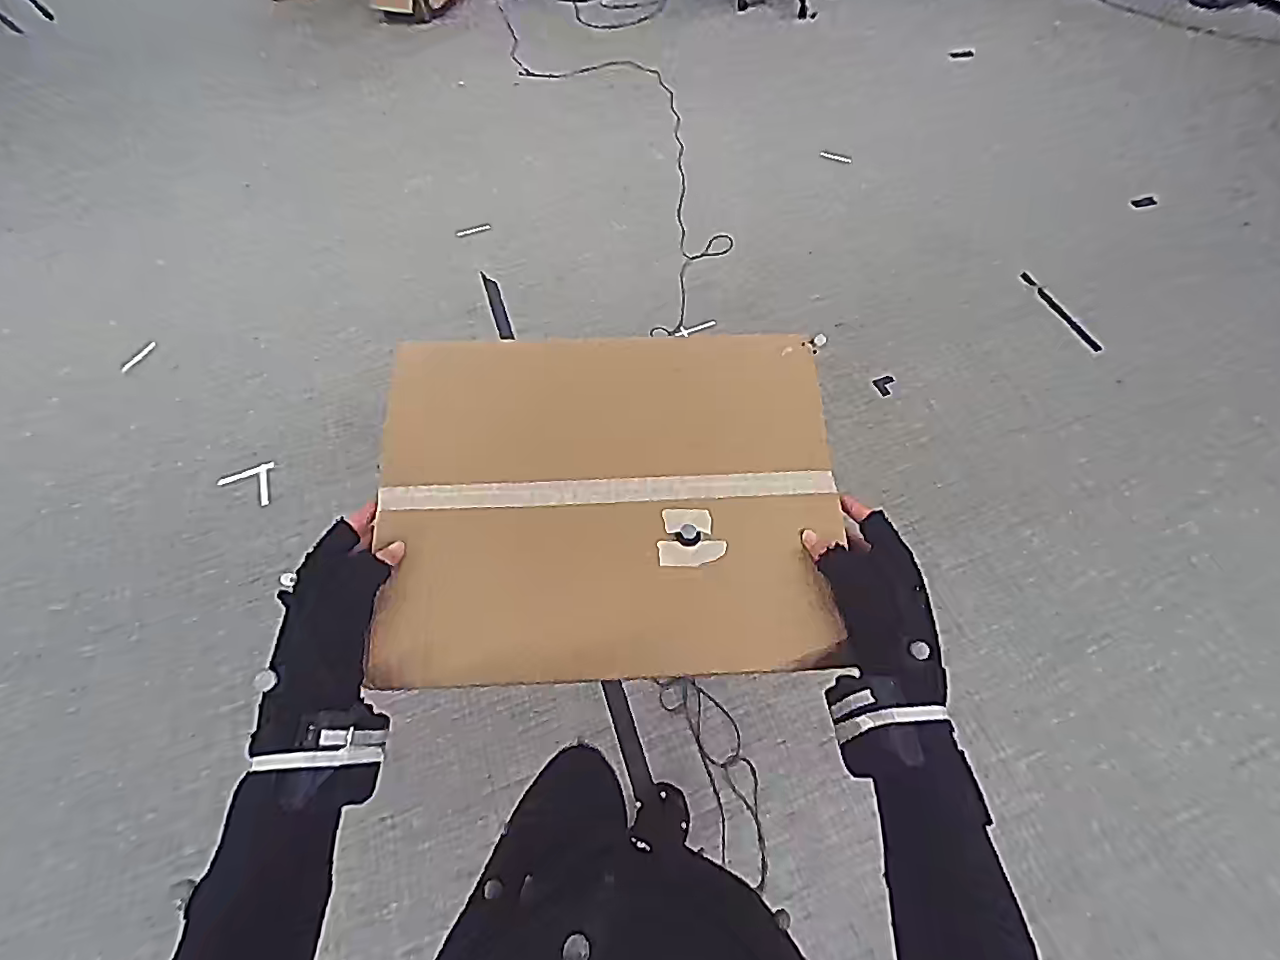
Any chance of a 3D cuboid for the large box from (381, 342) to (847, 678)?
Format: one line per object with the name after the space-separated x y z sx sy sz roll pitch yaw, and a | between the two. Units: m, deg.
-0.031 0.056 0.641 0.408 0.320 0.320 -1 73 -2 | large box
